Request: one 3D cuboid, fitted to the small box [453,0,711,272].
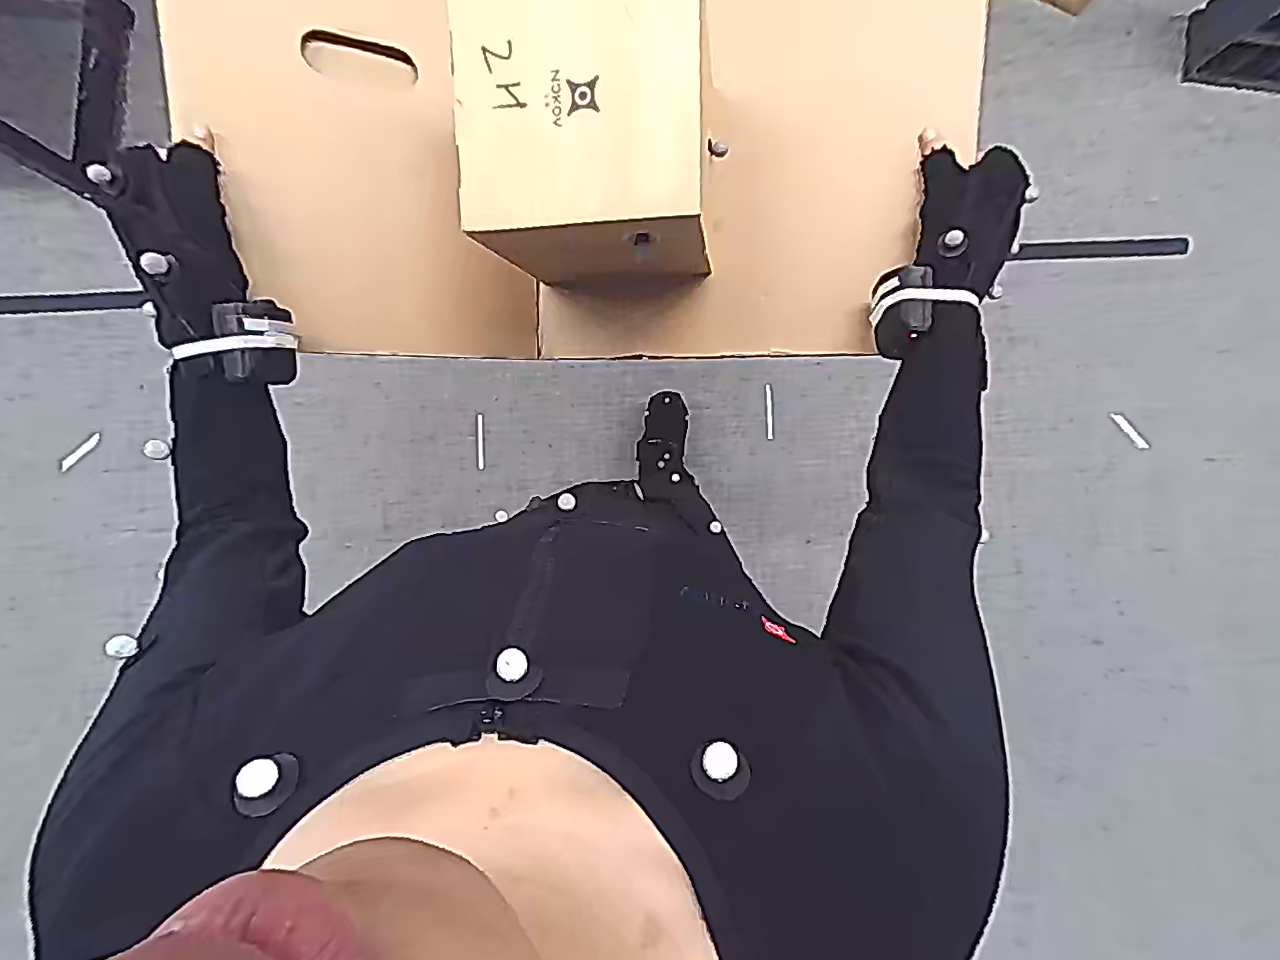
[{"bbox_3d":[-0.032,-0.280,0.452,0.179,0.176,0.168,1,98,11],"label":"small box"}]
